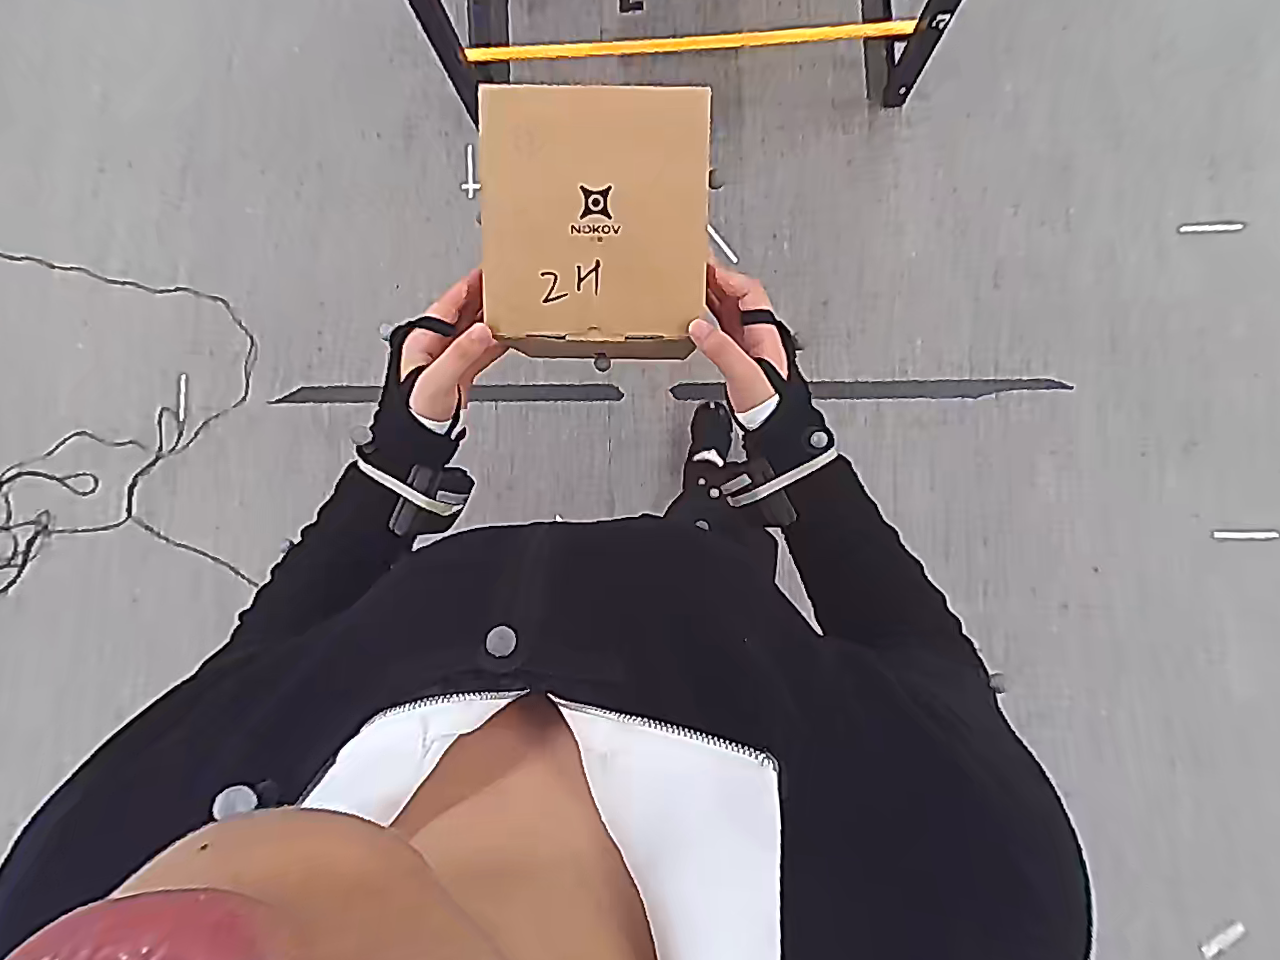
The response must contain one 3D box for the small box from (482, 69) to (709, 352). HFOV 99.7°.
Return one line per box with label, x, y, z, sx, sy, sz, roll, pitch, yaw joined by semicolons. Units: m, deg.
small box;-0.034;-0.214;0.474;0.168;0.176;0.179;1;97;0
